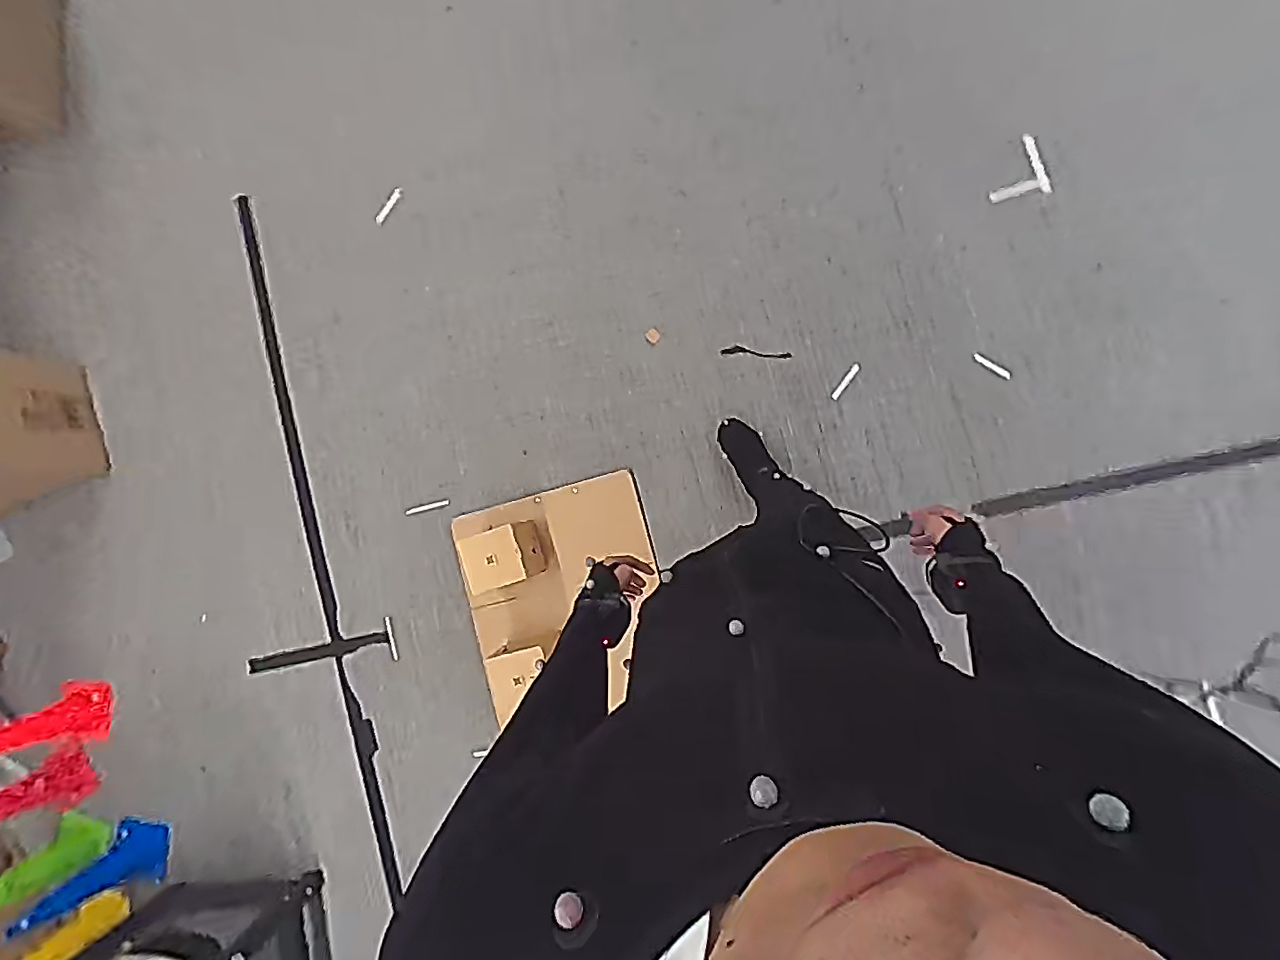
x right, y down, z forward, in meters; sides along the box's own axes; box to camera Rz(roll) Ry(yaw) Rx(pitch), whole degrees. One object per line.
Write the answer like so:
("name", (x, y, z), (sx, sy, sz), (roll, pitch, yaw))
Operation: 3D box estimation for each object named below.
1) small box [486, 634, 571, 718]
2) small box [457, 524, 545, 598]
("small box", (-0.321, 0.567, 1.581), (0.179, 0.176, 0.168), (-16, 87, 7))
("small box", (-0.409, 0.236, 1.610), (0.179, 0.176, 0.168), (-20, 86, 7))
